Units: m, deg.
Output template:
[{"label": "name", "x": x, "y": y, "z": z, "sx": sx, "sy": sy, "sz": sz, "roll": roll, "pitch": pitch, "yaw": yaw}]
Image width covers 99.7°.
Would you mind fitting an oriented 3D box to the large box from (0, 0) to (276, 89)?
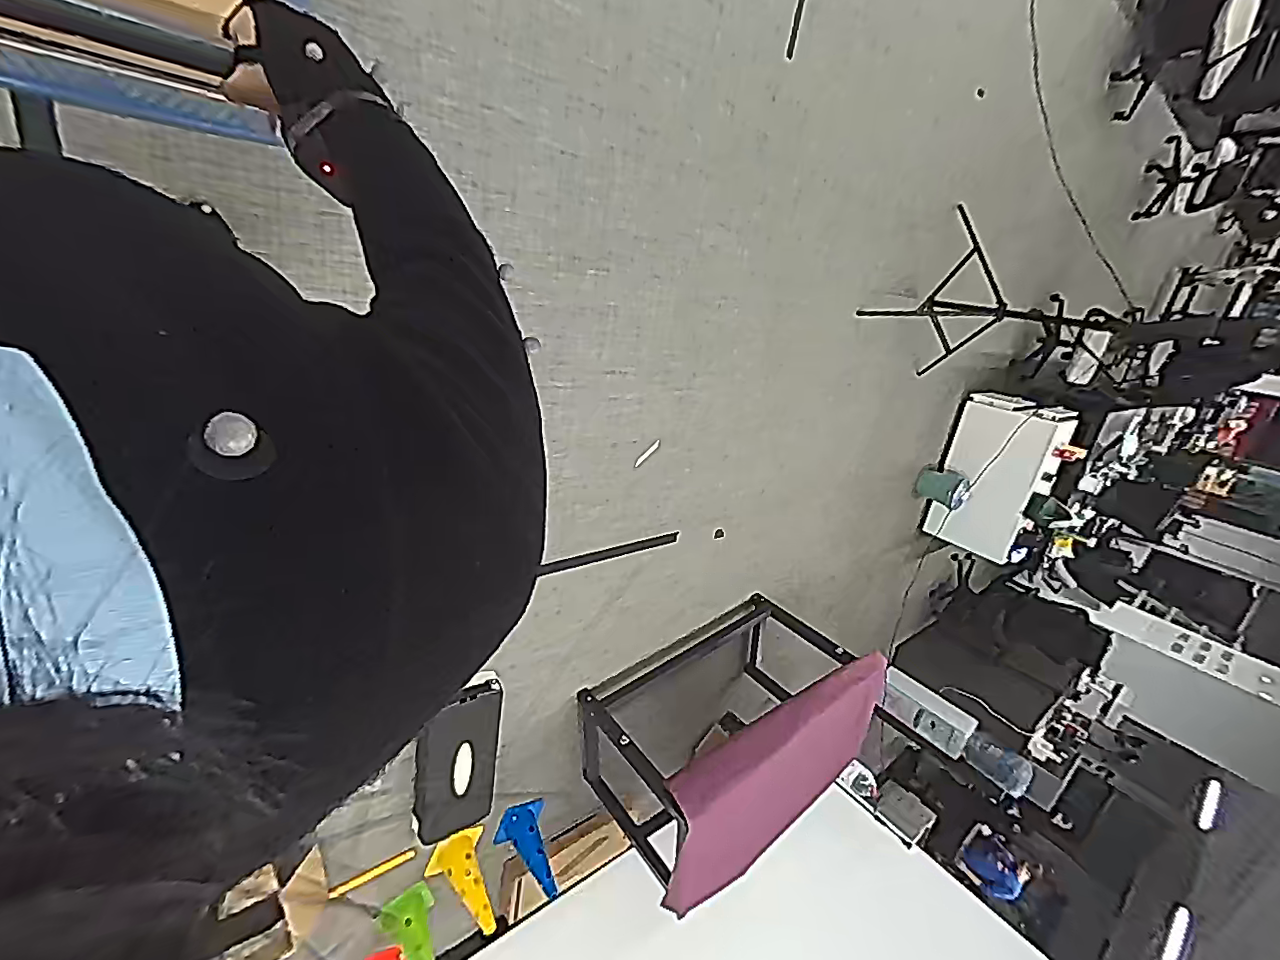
[{"label": "large box", "x": -0.733, "y": -0.753, "z": 0.679, "sx": 0.408, "sy": 0.320, "sz": 0.320, "roll": -9, "pitch": 117, "yaw": -39}]
